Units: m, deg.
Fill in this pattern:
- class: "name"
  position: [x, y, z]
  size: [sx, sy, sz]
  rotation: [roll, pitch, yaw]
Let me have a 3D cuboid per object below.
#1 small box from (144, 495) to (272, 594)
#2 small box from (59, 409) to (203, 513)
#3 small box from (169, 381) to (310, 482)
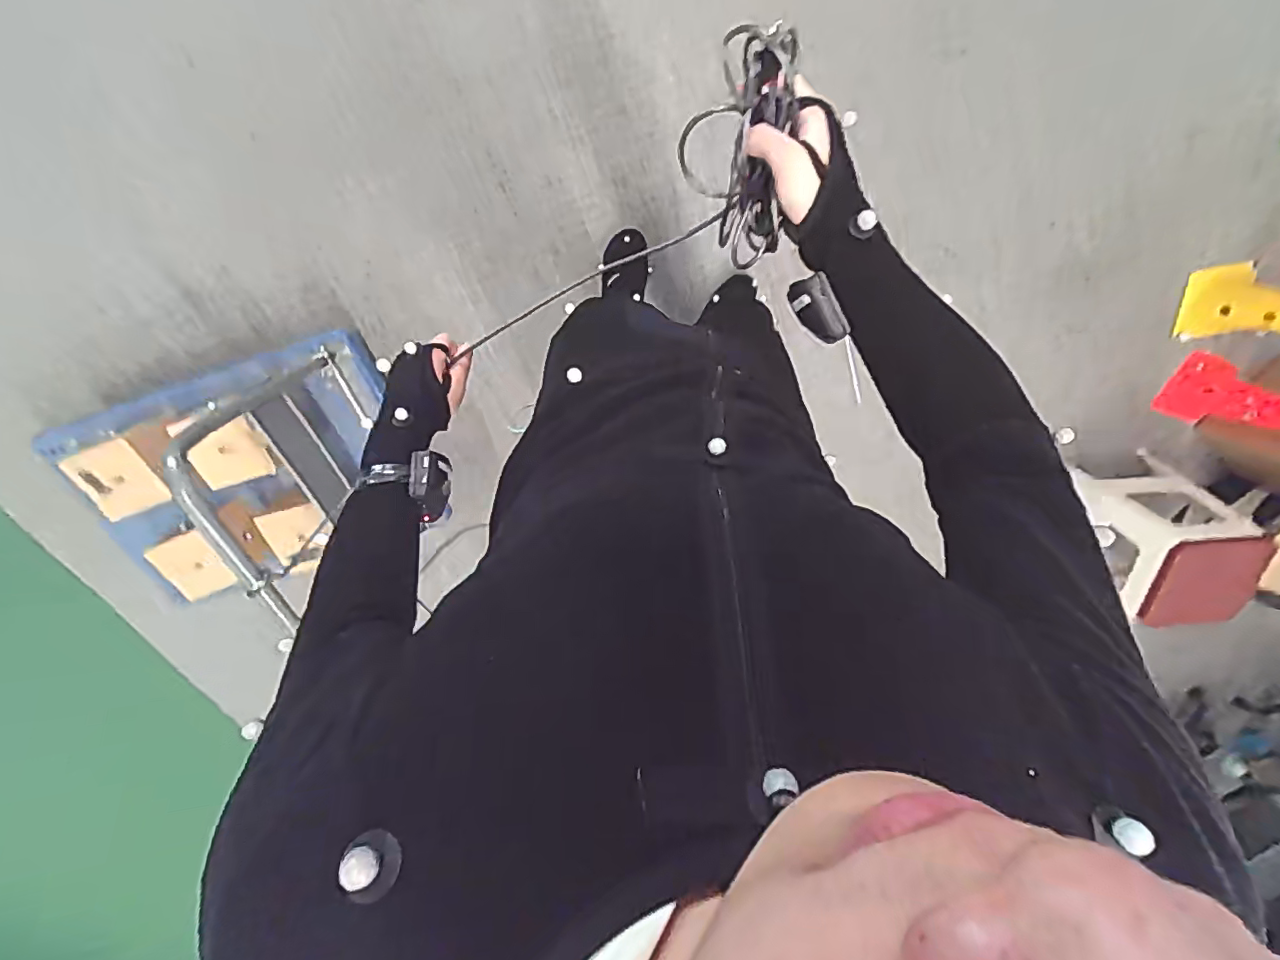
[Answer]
- class: "small box"
  position: [-1.111, 0.163, 1.417]
  size: [0.179, 0.176, 0.168]
  rotation: [-20, 116, 5]
- class: "small box"
  position: [-1.194, -0.051, 1.301]
  size: [0.179, 0.176, 0.168]
  rotation: [-19, 117, 4]
- class: "small box"
  position: [-0.941, -0.120, 1.291]
  size: [0.179, 0.176, 0.168]
  rotation: [-16, 117, 2]
